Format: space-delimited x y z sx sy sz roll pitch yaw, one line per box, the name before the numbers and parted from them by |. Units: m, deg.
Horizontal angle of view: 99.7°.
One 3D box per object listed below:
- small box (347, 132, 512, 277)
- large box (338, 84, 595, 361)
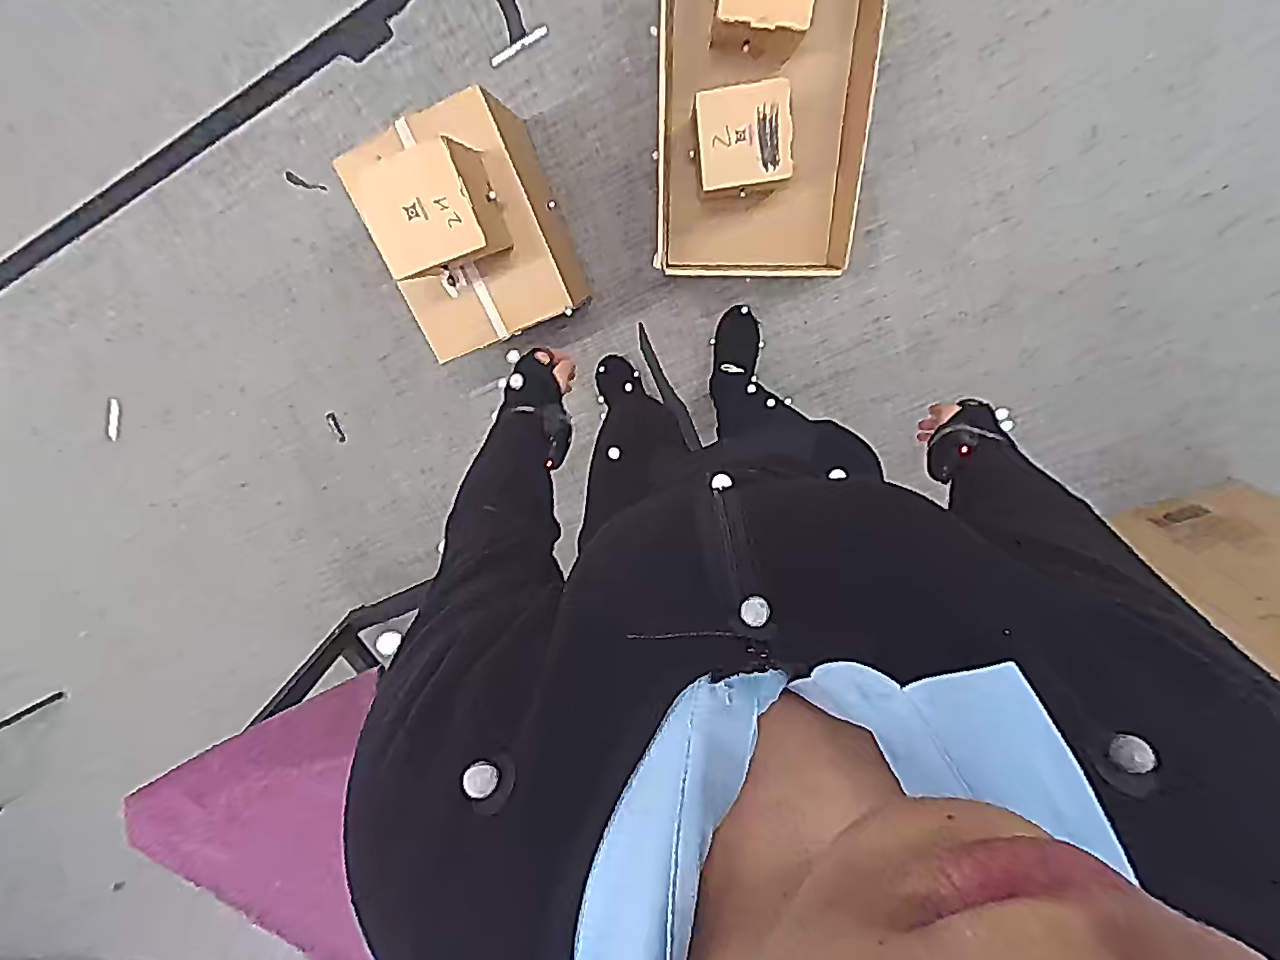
small box | -0.344 -0.458 0.920 0.179 0.176 0.168 -16 113 9
large box | -0.330 -0.525 1.160 0.320 0.320 0.408 -19 112 13
